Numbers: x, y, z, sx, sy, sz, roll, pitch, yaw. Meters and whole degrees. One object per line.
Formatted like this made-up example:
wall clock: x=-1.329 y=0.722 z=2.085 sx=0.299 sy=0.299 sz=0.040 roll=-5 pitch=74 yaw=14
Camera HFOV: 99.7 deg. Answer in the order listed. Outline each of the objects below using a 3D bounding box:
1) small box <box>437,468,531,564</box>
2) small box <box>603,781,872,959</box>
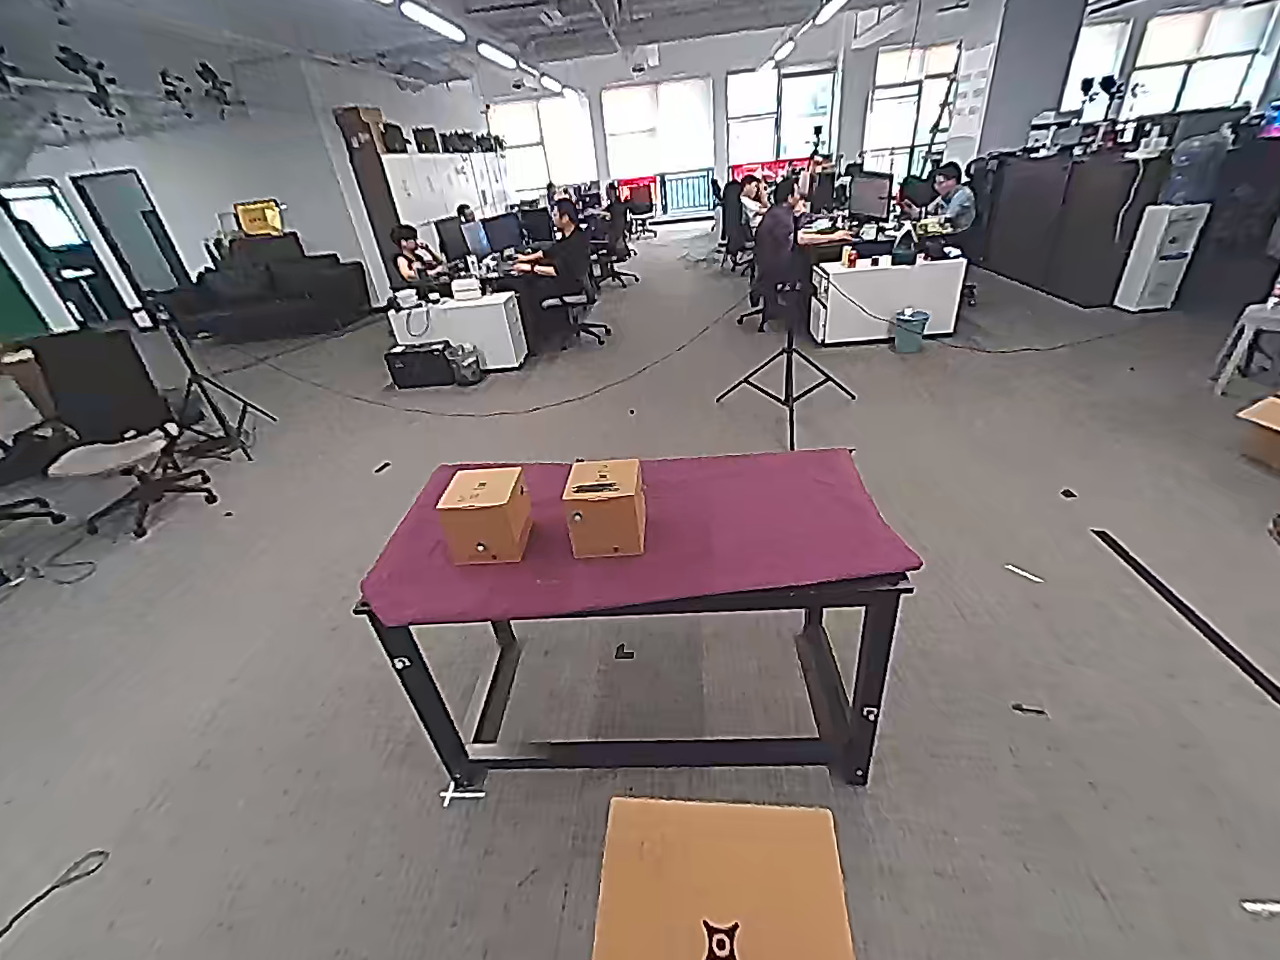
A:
small box: x=-0.371 y=0.087 z=1.324 sx=0.168 sy=0.176 sz=0.179 roll=-4 pitch=31 yaw=3
small box: x=0.066 y=0.346 z=0.389 sx=0.168 sy=0.176 sz=0.179 roll=-2 pitch=40 yaw=8
